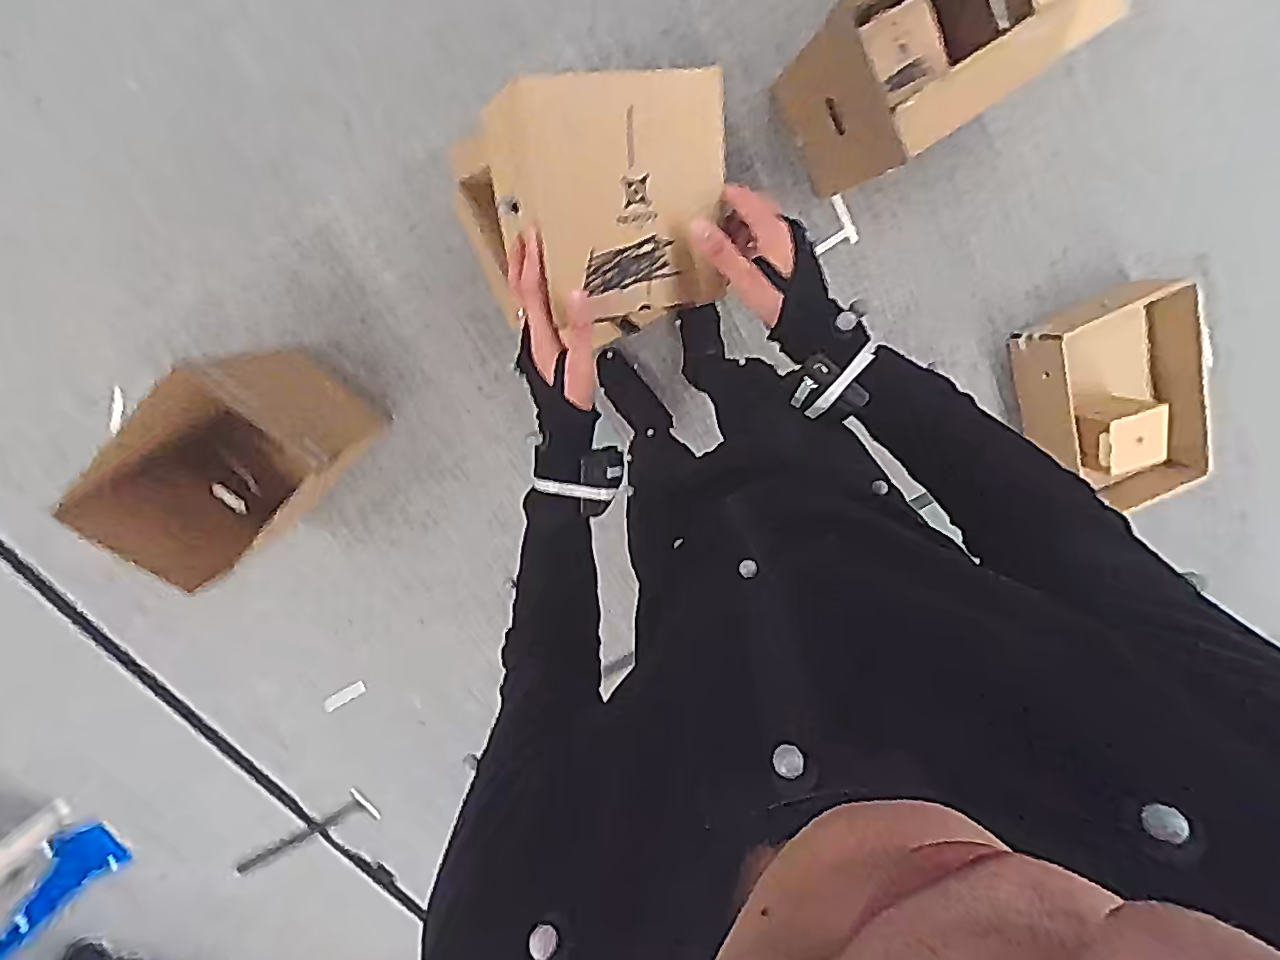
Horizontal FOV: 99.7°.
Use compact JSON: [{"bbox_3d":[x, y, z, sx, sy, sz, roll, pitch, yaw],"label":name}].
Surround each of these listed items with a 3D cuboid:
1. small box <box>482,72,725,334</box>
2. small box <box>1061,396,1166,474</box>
[{"bbox_3d":[-0.036,-0.248,0.494,0.168,0.176,0.179,-16,119,-18],"label":"small box"},{"bbox_3d":[1.379,-0.136,1.586,0.179,0.176,0.168,-17,108,-1],"label":"small box"}]
